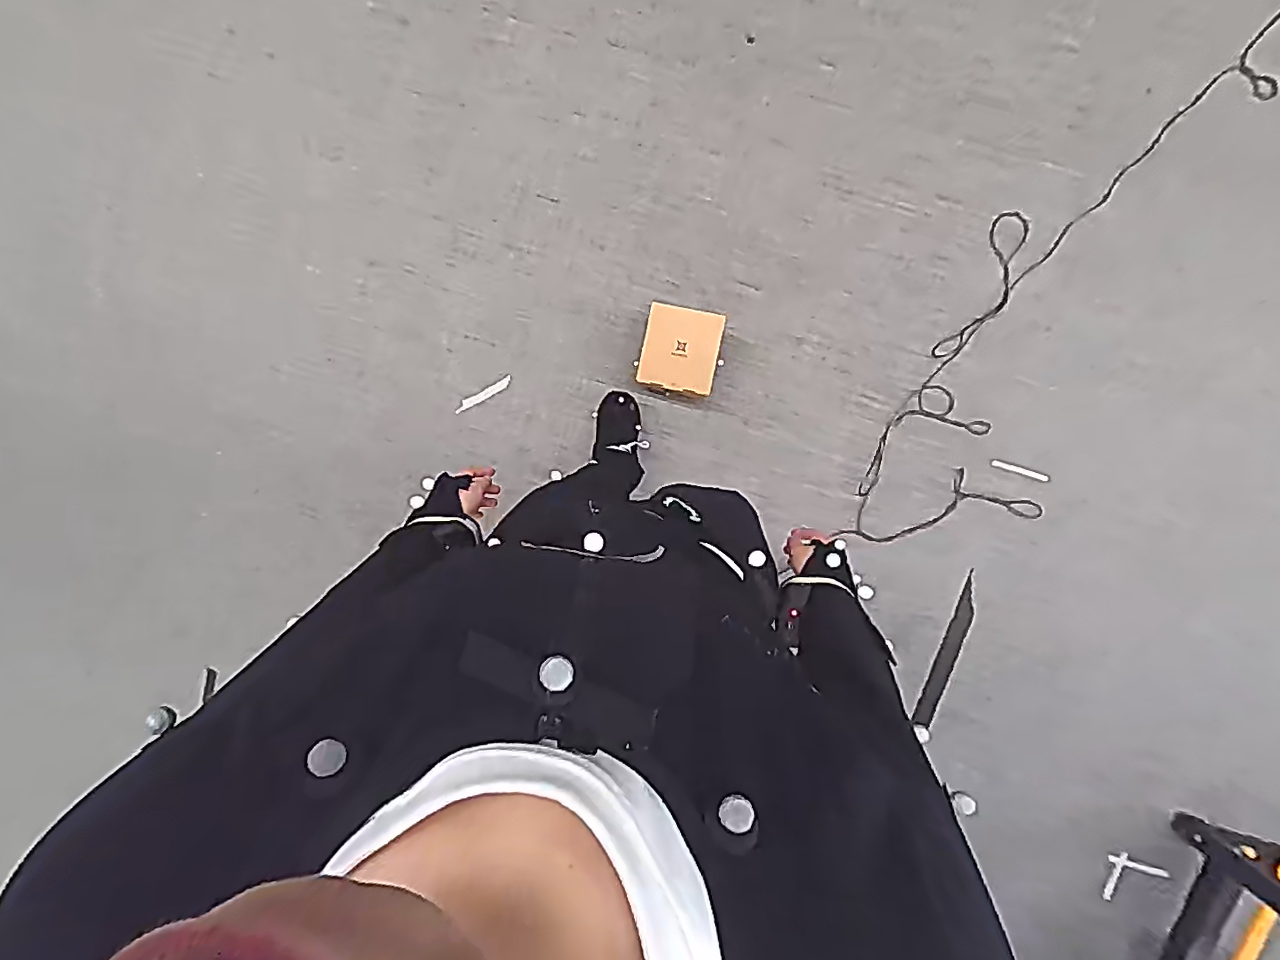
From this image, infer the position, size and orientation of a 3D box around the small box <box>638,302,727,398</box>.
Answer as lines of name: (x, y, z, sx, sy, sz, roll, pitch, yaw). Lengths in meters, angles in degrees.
small box: (0.095, -0.291, 1.245, 0.168, 0.176, 0.179, 11, 97, 3)
